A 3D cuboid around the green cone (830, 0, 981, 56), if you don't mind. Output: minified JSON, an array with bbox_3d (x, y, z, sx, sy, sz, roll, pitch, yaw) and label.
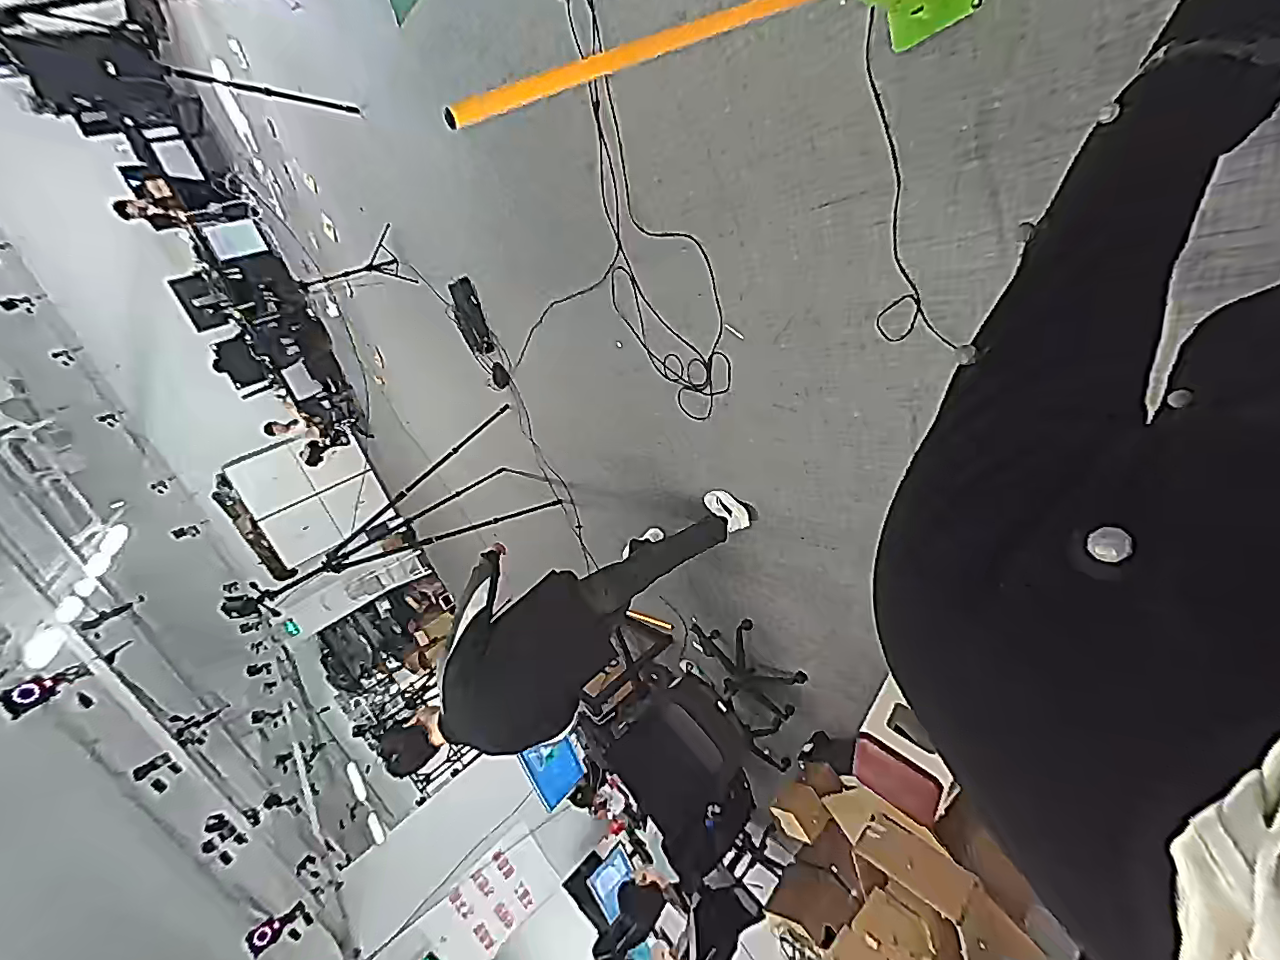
[{"bbox_3d":[0.504,-1.006,1.097,0.202,0.368,0.200,8,124,54],"label":"green cone"}]
